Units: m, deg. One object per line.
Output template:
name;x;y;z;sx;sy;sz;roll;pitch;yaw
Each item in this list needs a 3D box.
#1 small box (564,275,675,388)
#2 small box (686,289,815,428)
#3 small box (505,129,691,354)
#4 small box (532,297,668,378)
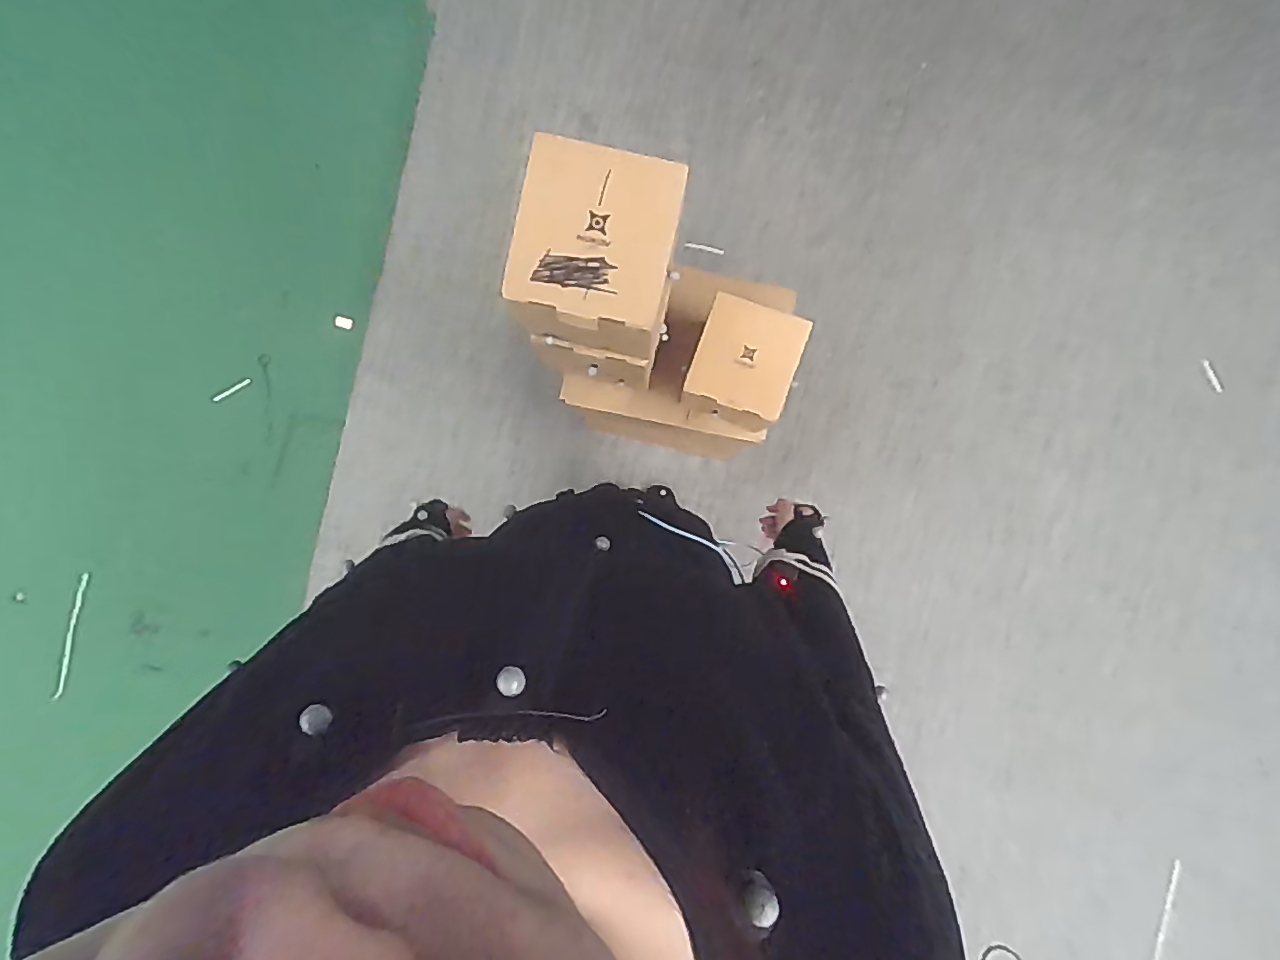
small box;-0.041;-0.274;0.965;0.168;0.176;0.179;14;91;-1
small box;0.183;-0.204;0.956;0.168;0.176;0.179;19;91;3
small box;-0.044;-0.261;0.637;0.168;0.176;0.179;12;91;-1
small box;-0.048;-0.258;0.803;0.168;0.176;0.179;13;92;-1
